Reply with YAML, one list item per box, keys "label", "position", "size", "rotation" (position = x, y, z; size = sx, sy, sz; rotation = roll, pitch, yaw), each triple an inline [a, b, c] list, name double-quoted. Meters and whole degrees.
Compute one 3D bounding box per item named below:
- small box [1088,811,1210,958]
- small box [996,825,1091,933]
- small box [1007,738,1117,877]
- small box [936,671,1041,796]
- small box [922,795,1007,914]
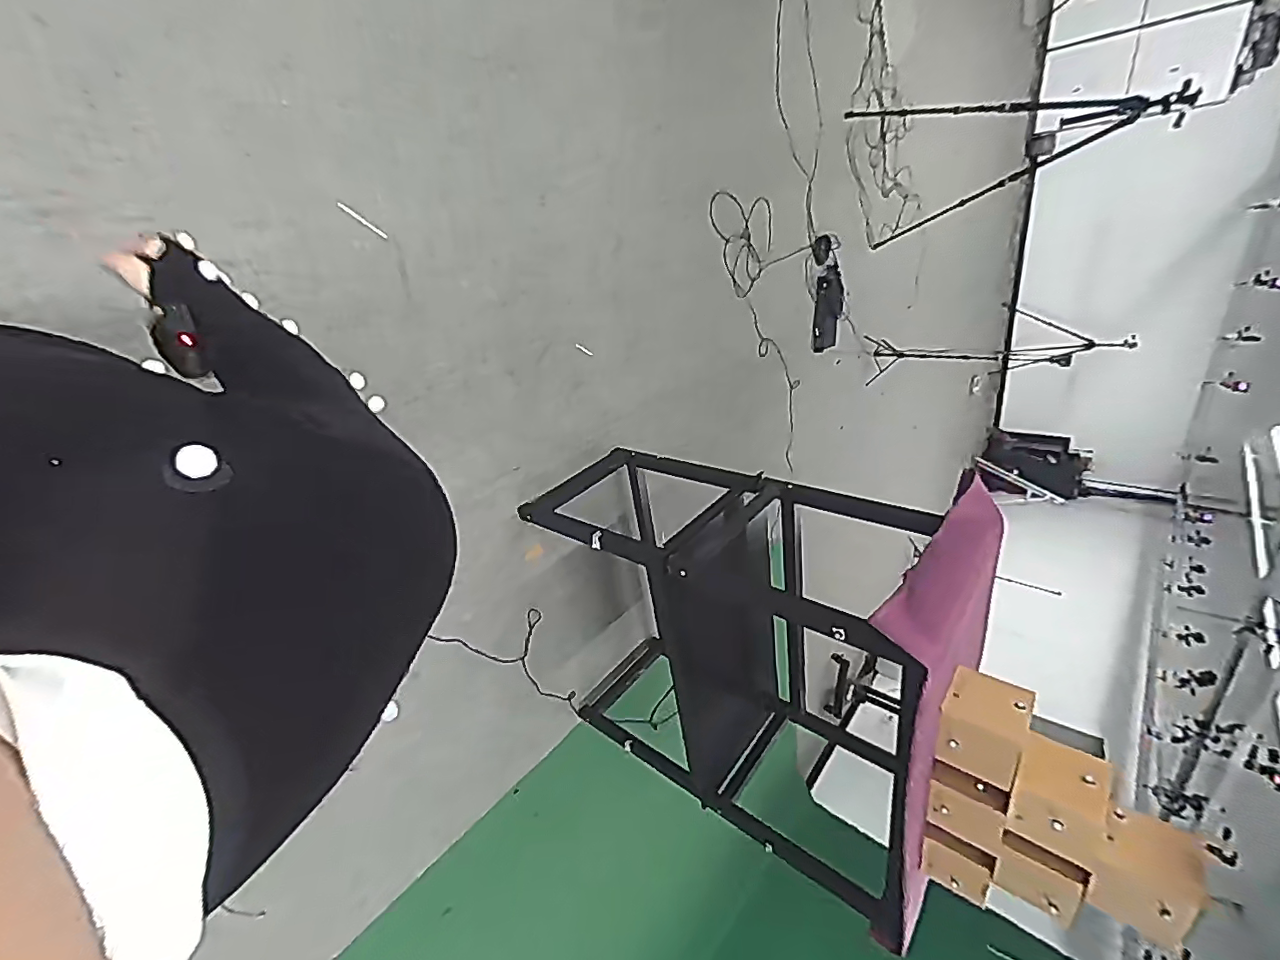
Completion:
- label: "small box"
  position: [1.108, 0.871, 1.187]
  size: [0.168, 0.176, 0.179]
  rotation: [-34, 124, -39]
- label: "small box"
  position: [1.006, 0.951, 1.347]
  size: [0.168, 0.176, 0.179]
  rotation: [-33, 124, -40]
- label: "small box"
  position: [0.967, 0.742, 1.244]
  size: [0.179, 0.176, 0.168]
  rotation: [-32, 123, -40]
- label: "small box"
  position: [0.827, 0.597, 1.293]
  size: [0.168, 0.176, 0.179]
  rotation: [-33, 125, -39]
- label: "small box"
  position: [0.909, 1.041, 1.517]
  size: [0.179, 0.176, 0.168]
  rotation: [-30, 123, -42]
